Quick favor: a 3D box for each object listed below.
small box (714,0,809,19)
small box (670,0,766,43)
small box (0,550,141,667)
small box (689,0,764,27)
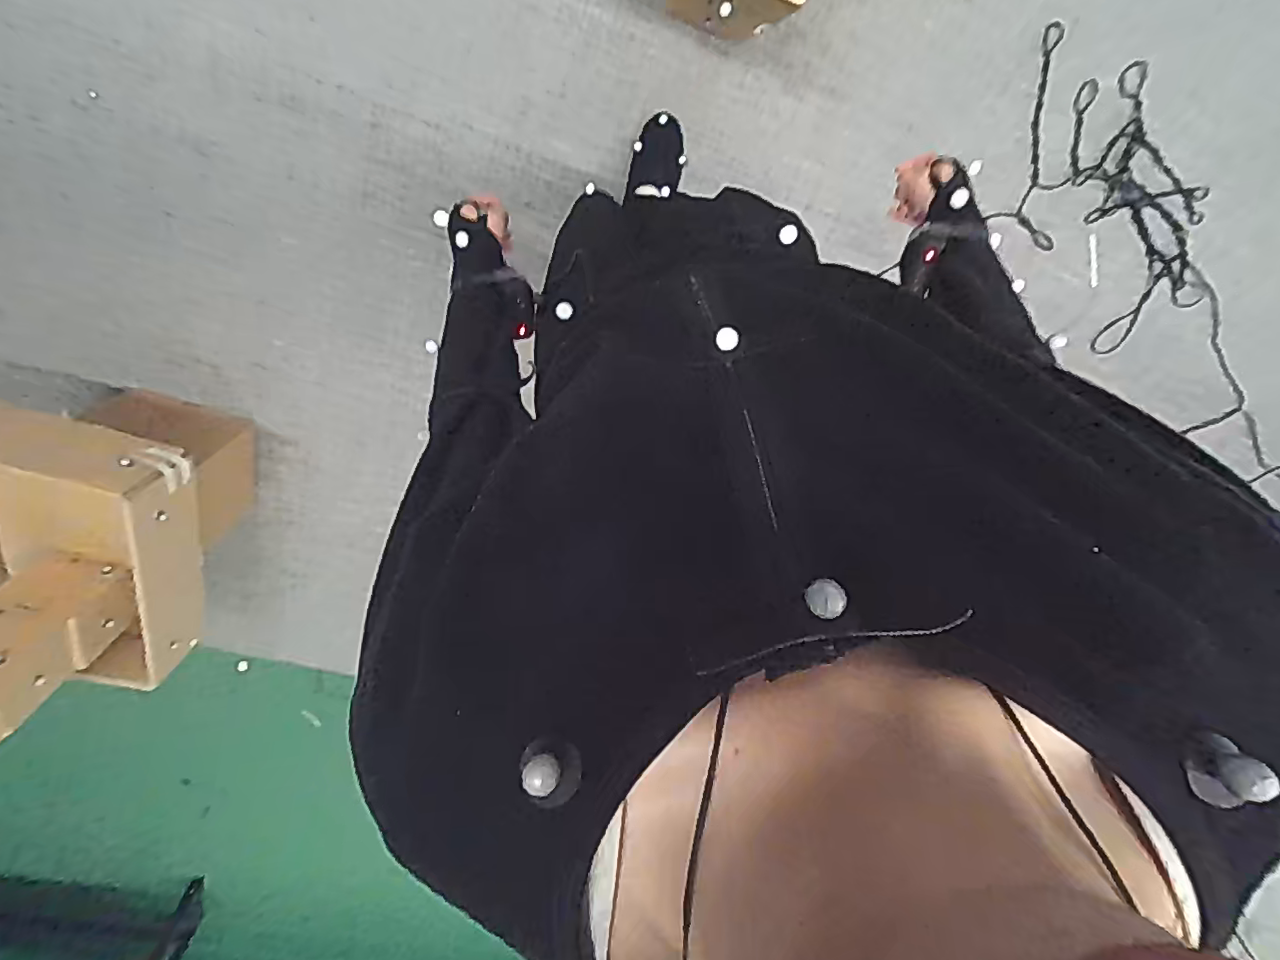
[{"bbox_3d":[0.156,-0.747,0.716,0.179,0.176,0.168,13,121,-10],"label":"small box"},{"bbox_3d":[0.162,-0.933,0.986,0.179,0.176,0.168,15,121,-11],"label":"small box"},{"bbox_3d":[-1.285,0.286,1.223,0.168,0.176,0.179,18,120,-13],"label":"small box"},{"bbox_3d":[0.154,-0.848,0.845,0.179,0.176,0.168,15,122,-11],"label":"small box"}]
